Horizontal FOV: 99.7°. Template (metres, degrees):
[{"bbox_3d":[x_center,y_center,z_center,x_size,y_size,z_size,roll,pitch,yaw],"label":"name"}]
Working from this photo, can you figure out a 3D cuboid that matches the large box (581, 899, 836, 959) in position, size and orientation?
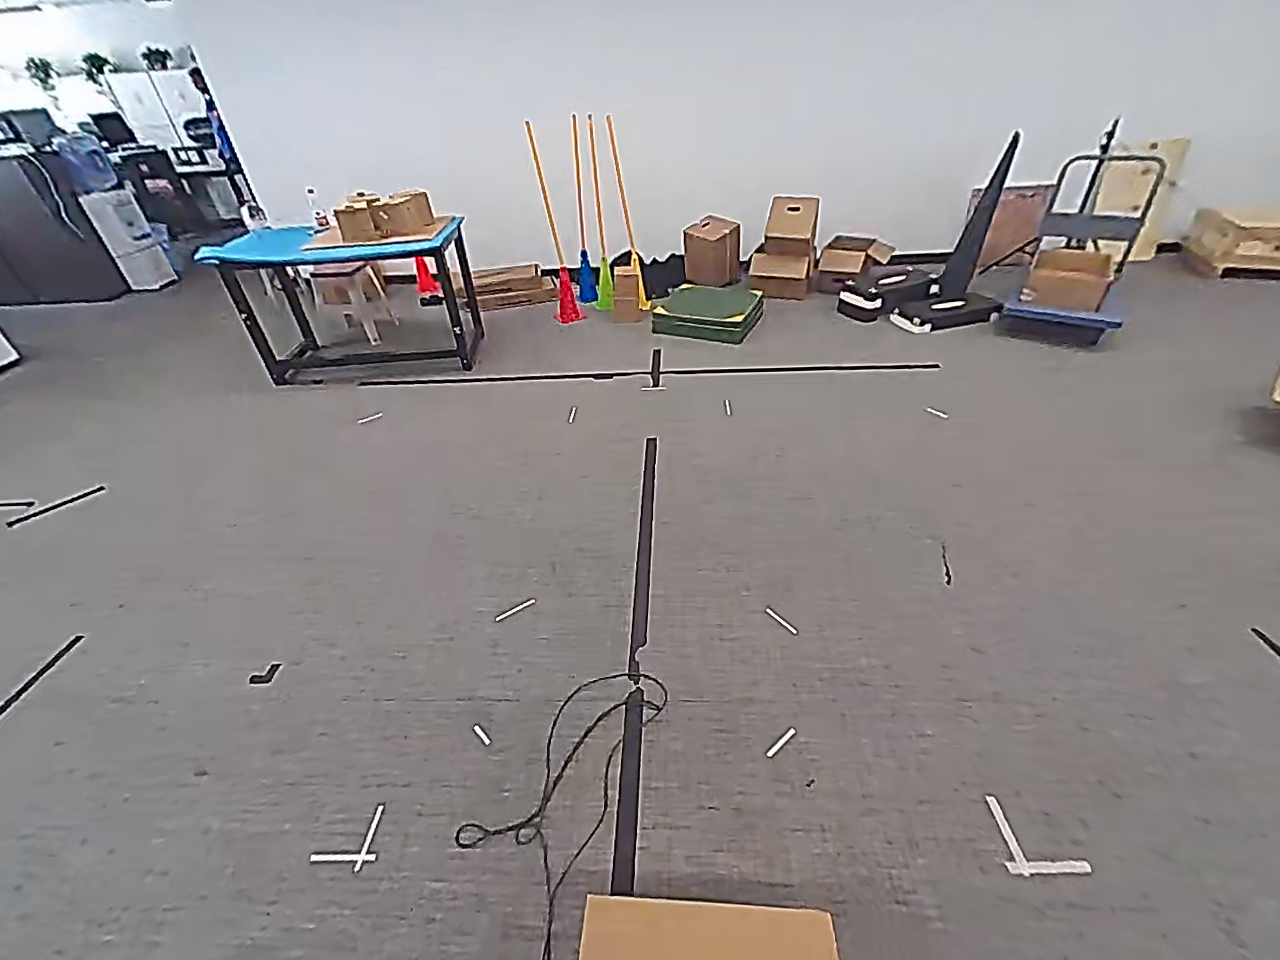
[{"bbox_3d":[0.107,0.921,0.868,0.408,0.320,0.320,0,37,5],"label":"large box"}]
